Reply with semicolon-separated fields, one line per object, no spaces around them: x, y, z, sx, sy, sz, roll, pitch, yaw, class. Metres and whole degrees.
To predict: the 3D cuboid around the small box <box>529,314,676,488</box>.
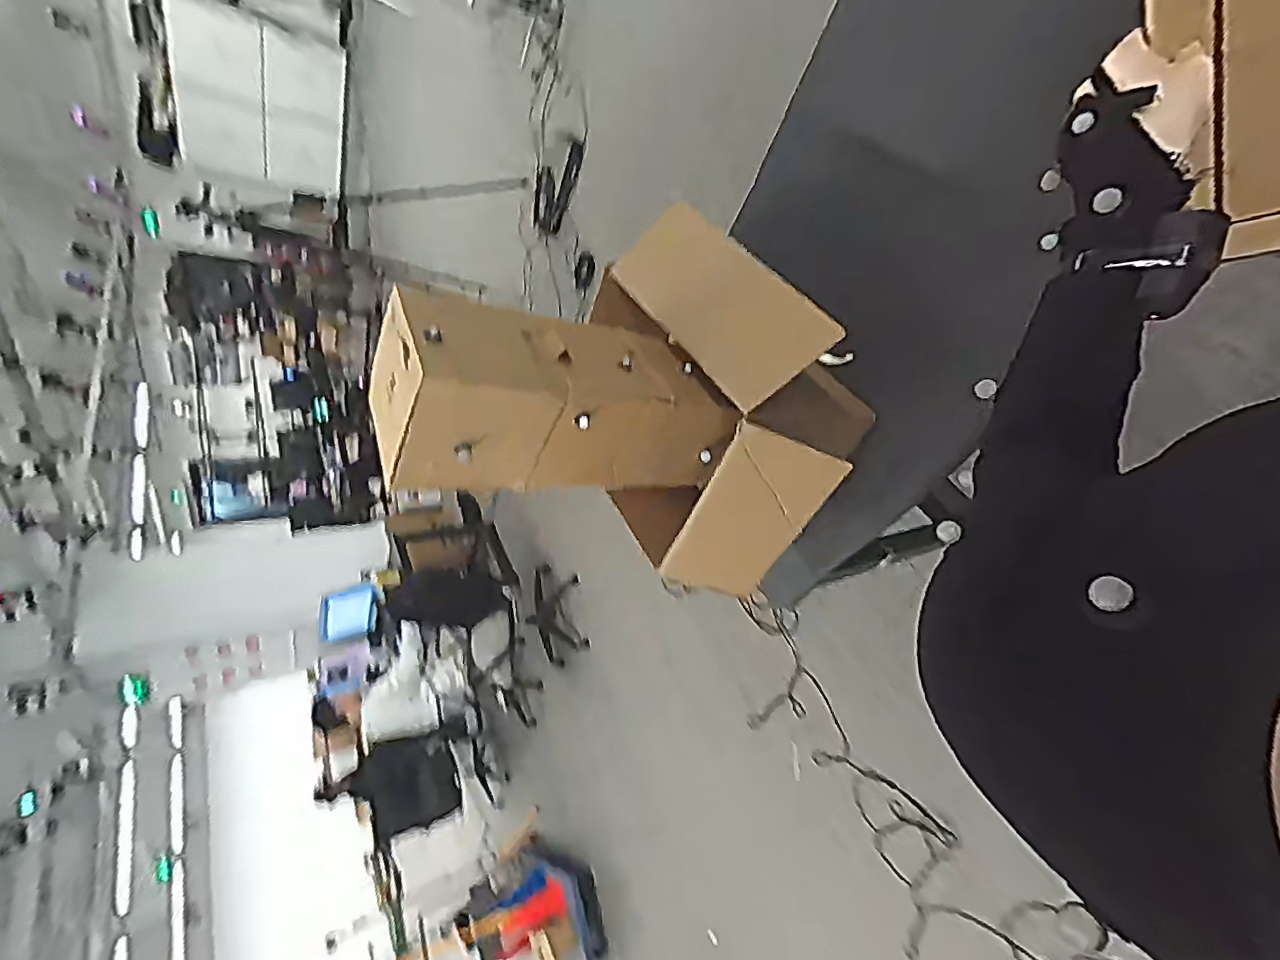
-0.077;-0.105;0.772;0.168;0.176;0.179;58;132;33;small box

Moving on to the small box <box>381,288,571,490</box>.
-0.207;-0.104;0.671;0.179;0.176;0.168;-57;50;36;small box
